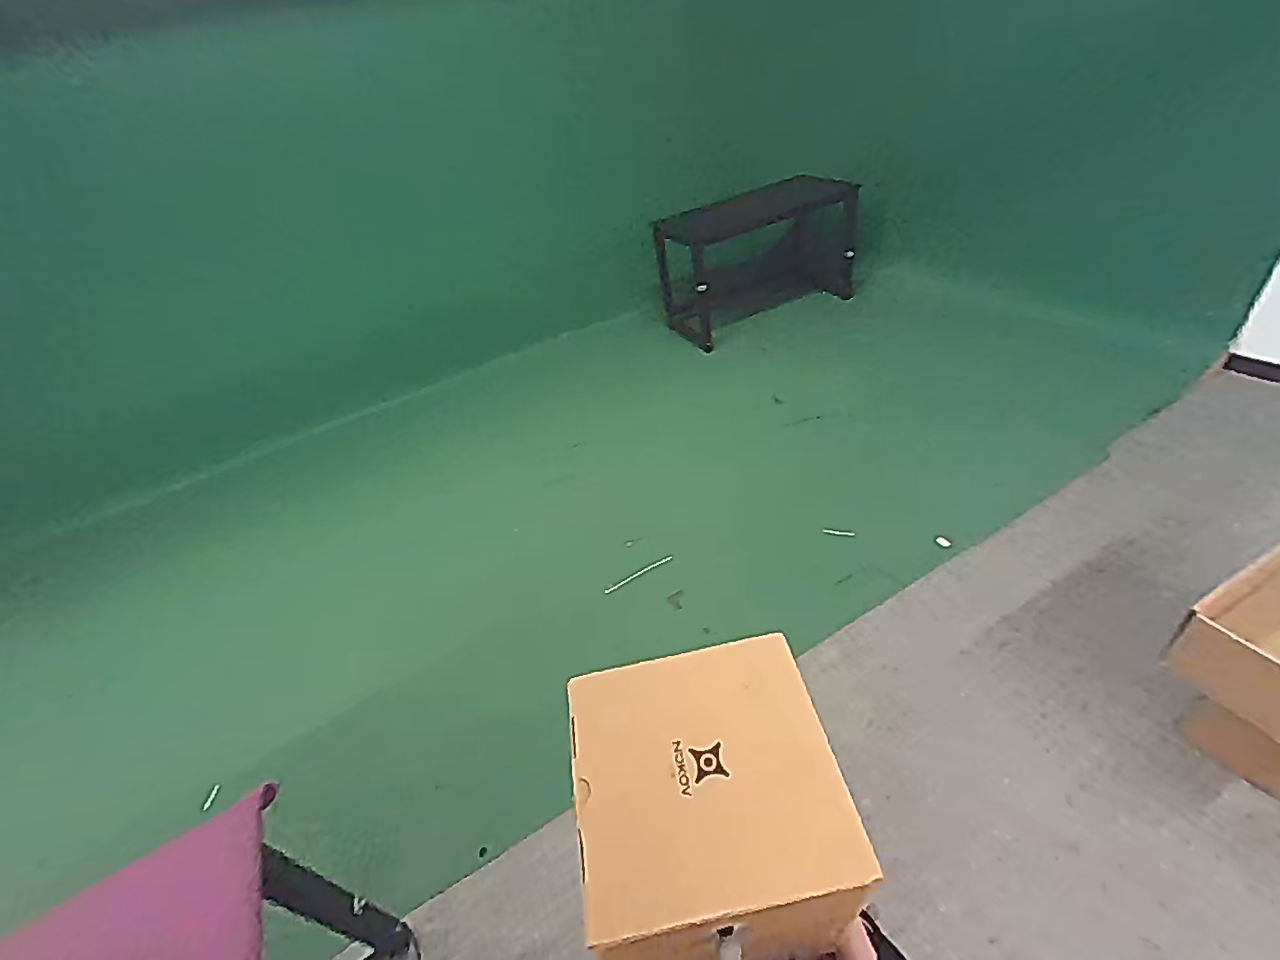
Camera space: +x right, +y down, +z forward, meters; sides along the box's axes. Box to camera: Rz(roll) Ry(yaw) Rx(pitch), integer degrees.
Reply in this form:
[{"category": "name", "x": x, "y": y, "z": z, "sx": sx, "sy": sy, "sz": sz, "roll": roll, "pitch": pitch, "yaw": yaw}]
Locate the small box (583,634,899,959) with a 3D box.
[{"category": "small box", "x": 0.062, "y": 0.247, "z": 0.416, "sx": 0.179, "sy": 0.176, "sz": 0.168, "roll": -12, "pitch": 43, "yaw": -1}]
